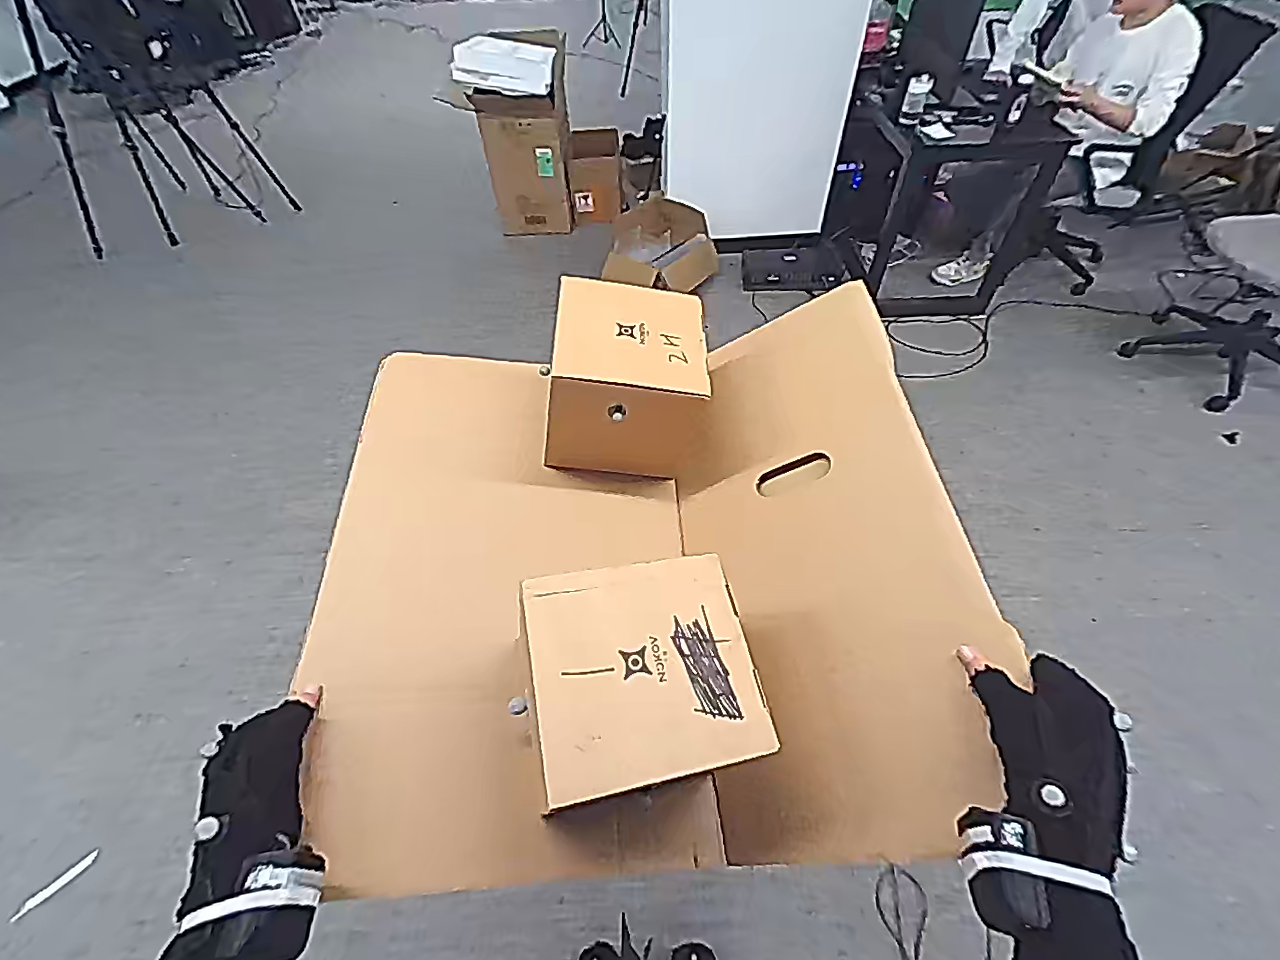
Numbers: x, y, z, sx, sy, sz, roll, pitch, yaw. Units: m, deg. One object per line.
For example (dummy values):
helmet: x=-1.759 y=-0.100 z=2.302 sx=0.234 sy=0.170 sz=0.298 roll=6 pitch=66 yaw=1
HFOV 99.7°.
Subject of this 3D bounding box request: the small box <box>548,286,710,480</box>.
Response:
small box: x=-0.021 y=-0.115 z=0.691 sx=0.179 sy=0.176 sz=0.168 roll=7 pitch=57 yaw=-9
